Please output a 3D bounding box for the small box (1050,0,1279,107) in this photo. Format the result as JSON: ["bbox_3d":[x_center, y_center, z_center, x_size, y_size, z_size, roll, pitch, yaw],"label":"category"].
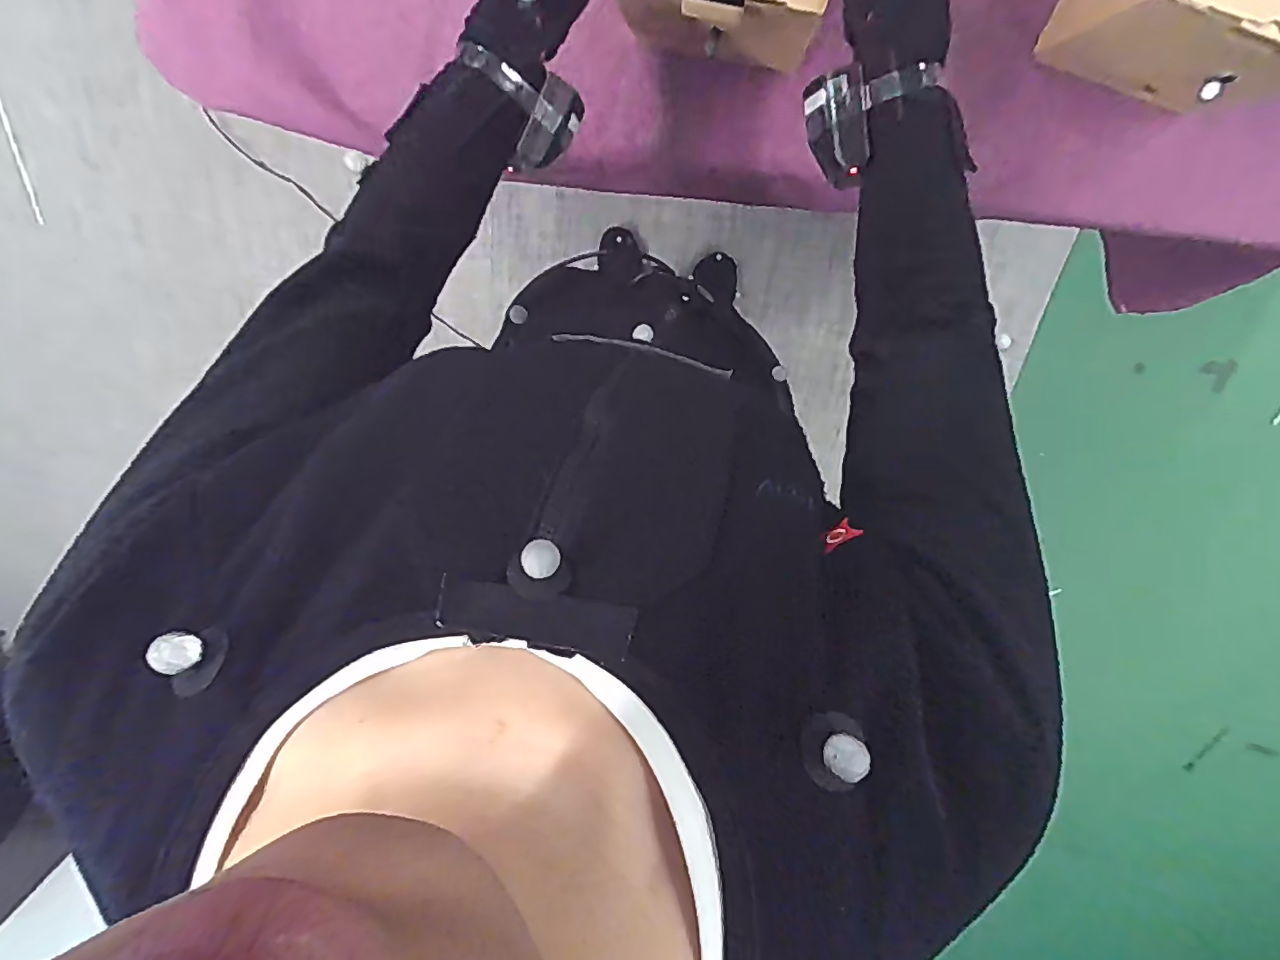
[{"bbox_3d":[0.467,-0.417,0.411,0.168,0.176,0.179,18,116,-3],"label":"small box"}]

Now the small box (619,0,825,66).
[{"bbox_3d":[0.077,-0.459,0.426,0.168,0.176,0.179,11,116,2],"label":"small box"}]
